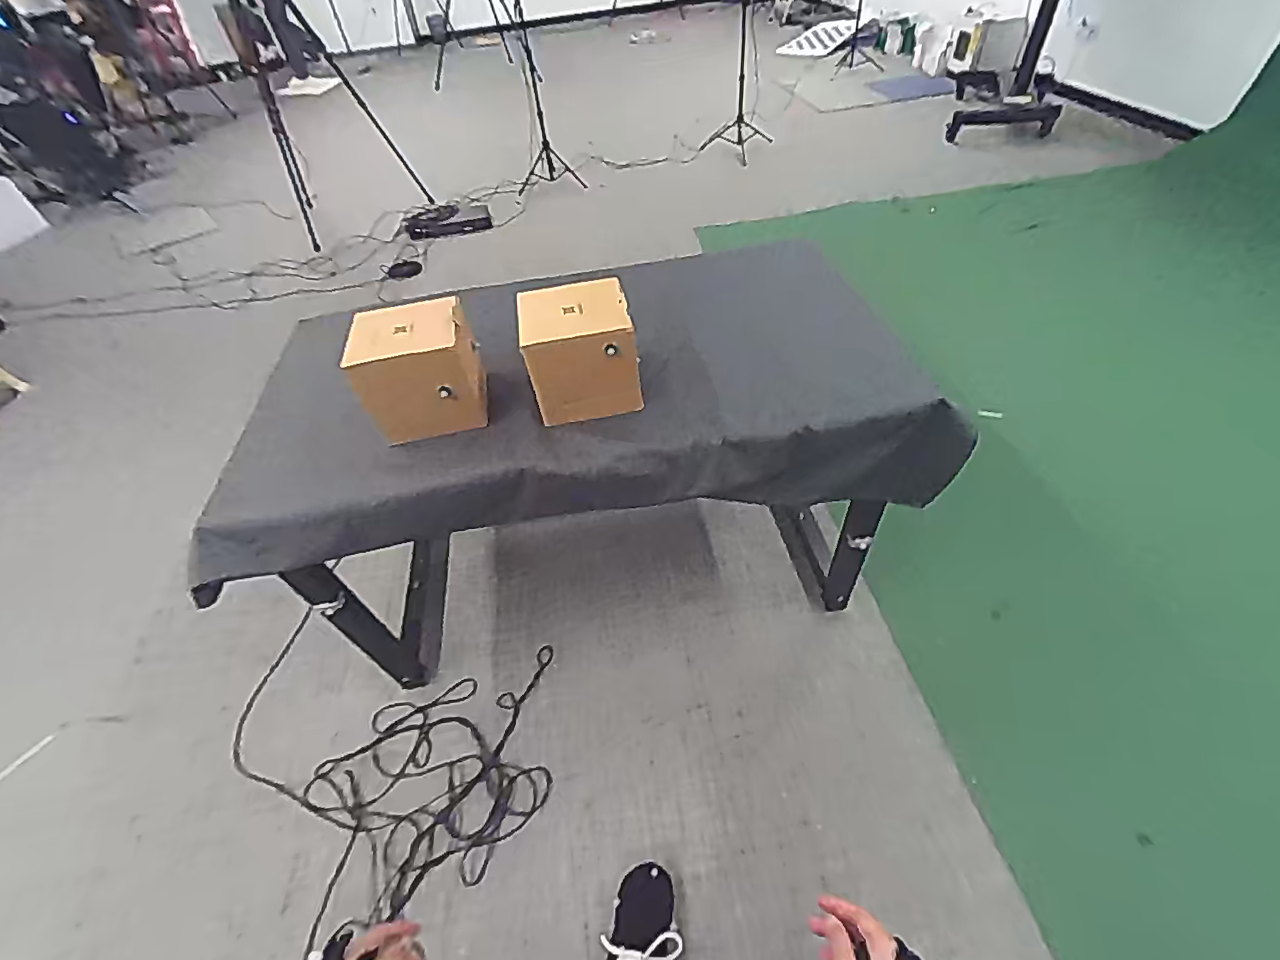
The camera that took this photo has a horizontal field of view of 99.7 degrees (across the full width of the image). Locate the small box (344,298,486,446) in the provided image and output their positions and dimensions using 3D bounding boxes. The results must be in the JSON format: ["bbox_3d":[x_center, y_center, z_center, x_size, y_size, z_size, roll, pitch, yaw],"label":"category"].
[{"bbox_3d":[-0.370,-0.183,0.931,0.179,0.176,0.168,-13,47,-4],"label":"small box"}]

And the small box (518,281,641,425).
[{"bbox_3d":[-0.101,-0.214,0.928,0.179,0.176,0.168,-11,47,-4],"label":"small box"}]
